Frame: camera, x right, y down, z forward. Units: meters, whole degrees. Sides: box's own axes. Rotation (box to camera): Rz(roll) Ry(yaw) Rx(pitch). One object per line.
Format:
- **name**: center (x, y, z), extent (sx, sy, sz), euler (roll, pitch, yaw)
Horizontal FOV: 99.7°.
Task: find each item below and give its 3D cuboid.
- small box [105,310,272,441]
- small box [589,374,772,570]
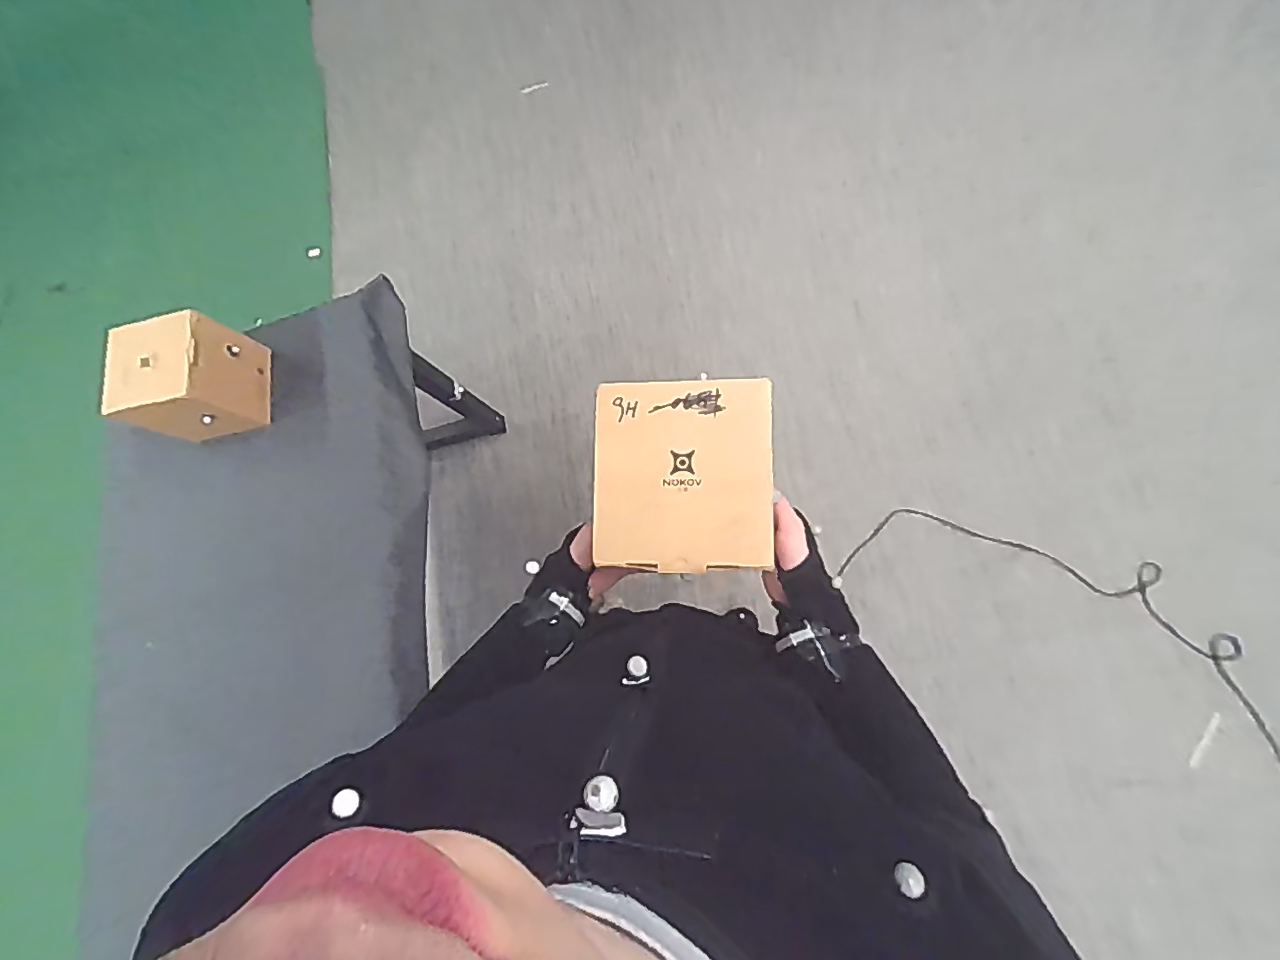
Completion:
- **small box**: center (-0.823, -0.184, 1.004), extent (0.179, 0.176, 0.168), euler (-11, 75, 9)
- **small box**: center (0.048, -0.001, 0.565), extent (0.168, 0.176, 0.179), euler (0, 83, 8)
